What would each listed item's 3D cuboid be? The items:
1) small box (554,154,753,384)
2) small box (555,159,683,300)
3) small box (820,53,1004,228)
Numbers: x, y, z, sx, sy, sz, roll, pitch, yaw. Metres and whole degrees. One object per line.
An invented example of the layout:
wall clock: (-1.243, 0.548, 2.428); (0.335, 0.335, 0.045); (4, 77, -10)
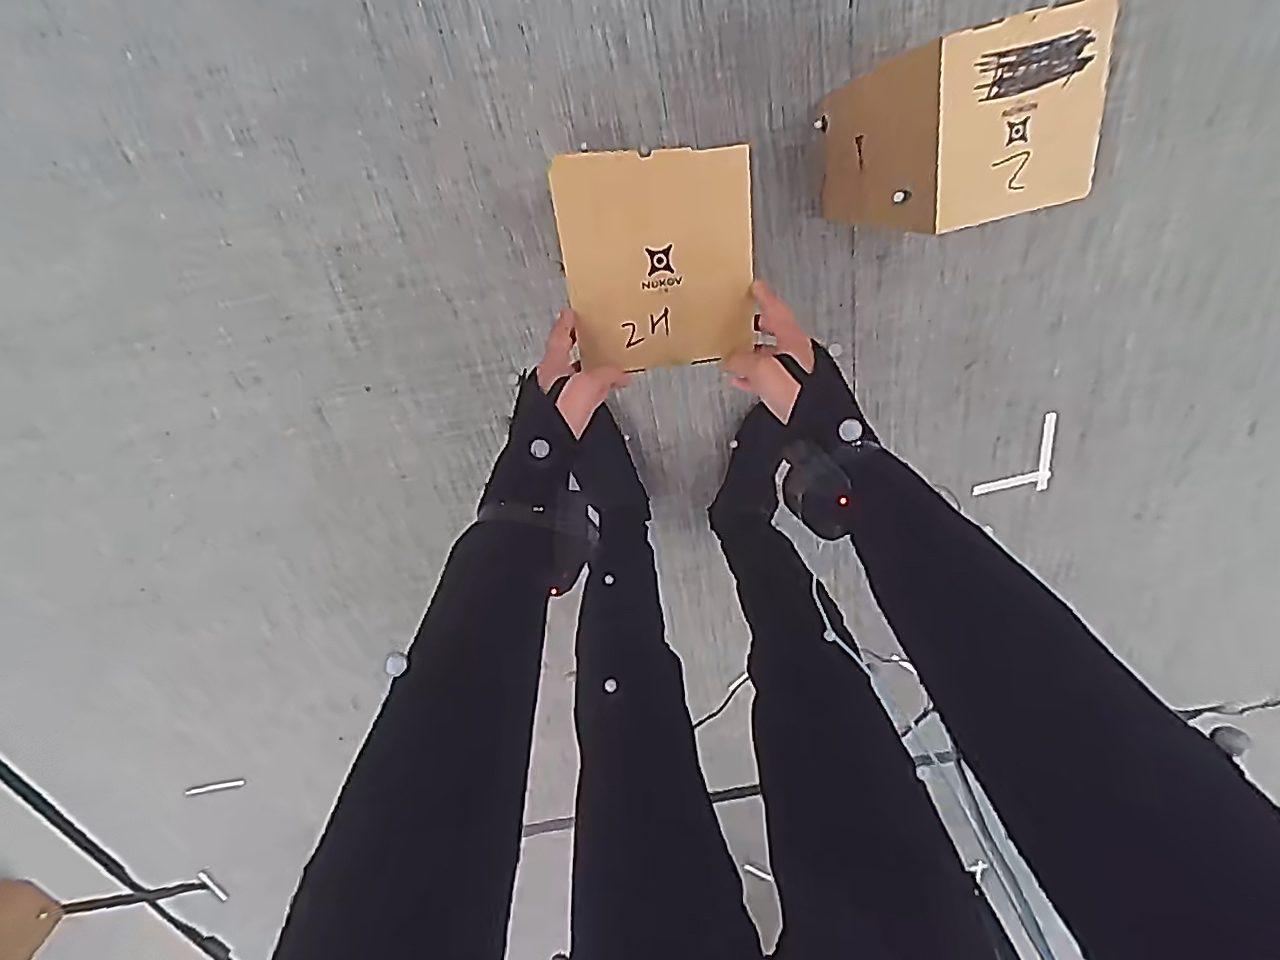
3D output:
small box: (0.011, -0.212, 0.544); (0.168, 0.176, 0.179); (-8, 118, -1)
small box: (-0.021, -0.363, 0.780); (0.179, 0.176, 0.168); (-4, 117, -1)
small box: (0.362, -0.459, 0.757); (0.179, 0.176, 0.168); (-13, 117, 1)
